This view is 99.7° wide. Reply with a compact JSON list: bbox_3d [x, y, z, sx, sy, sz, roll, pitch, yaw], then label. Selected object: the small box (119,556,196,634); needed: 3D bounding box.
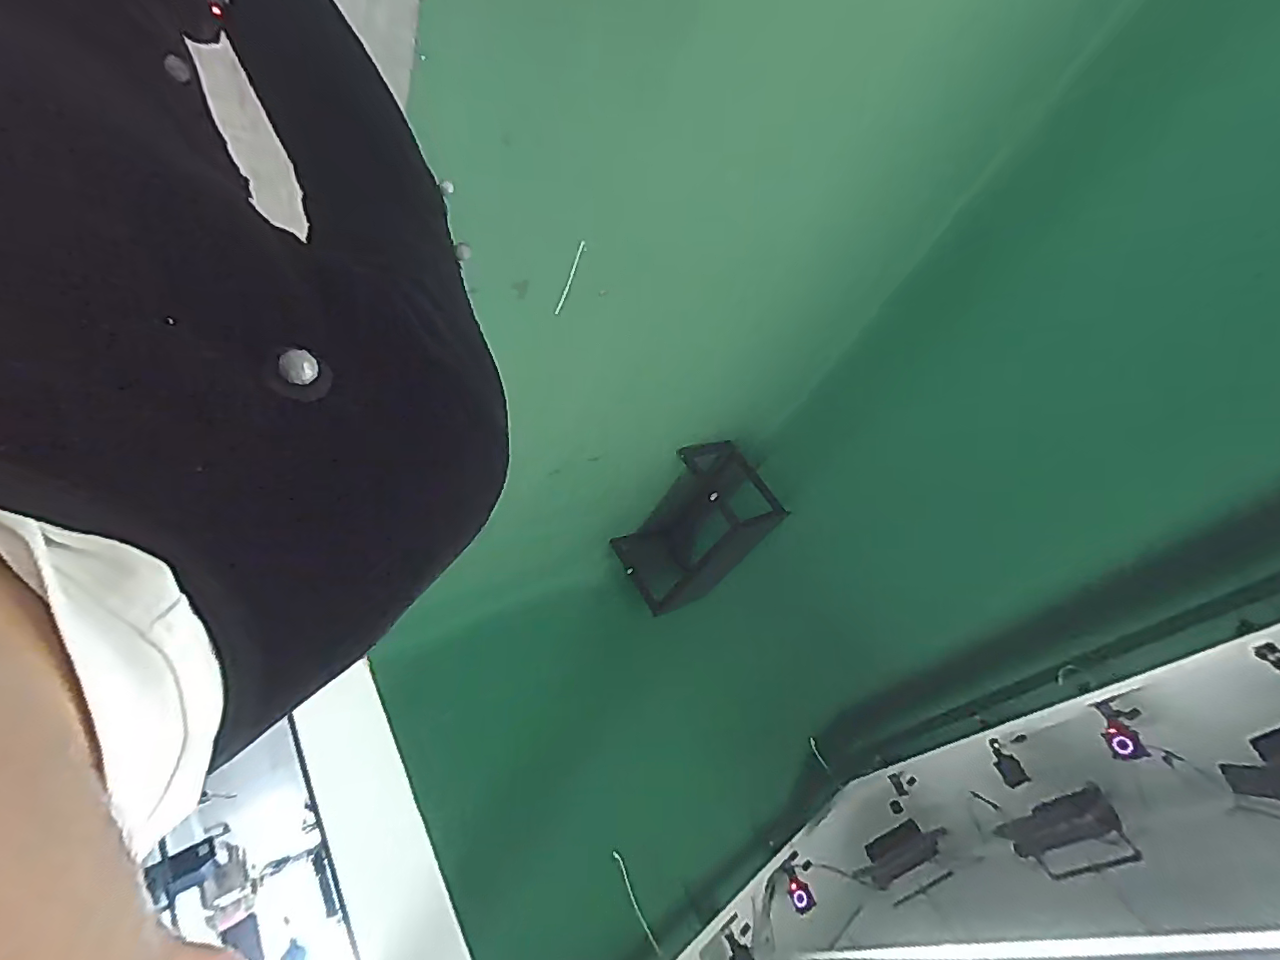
[{"bbox_3d":[-1.603,0.378,1.799,0.168,0.176,0.179,-12,148,-40],"label":"small box"}]
